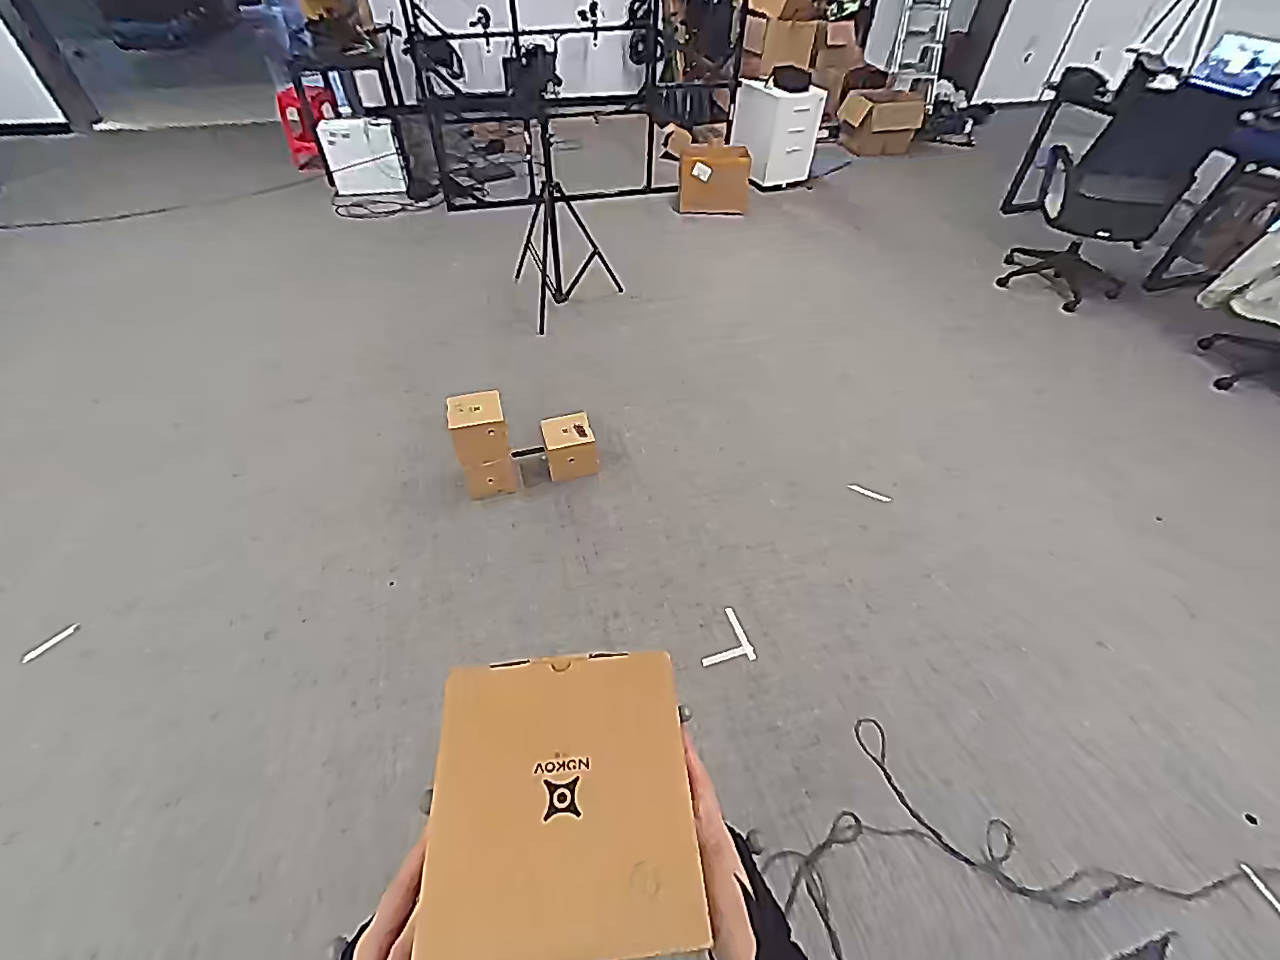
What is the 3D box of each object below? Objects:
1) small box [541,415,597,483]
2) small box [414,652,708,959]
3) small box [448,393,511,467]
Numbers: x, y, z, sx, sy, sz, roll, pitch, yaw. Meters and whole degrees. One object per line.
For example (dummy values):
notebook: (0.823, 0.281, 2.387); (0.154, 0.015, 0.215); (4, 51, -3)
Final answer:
small box: (-0.261, -0.114, 2.016); (0.179, 0.176, 0.168); (-13, 49, -11)
small box: (-0.051, 0.252, 0.406); (0.168, 0.176, 0.179); (-4, 49, -6)
small box: (-0.540, -0.168, 1.834); (0.179, 0.176, 0.168); (-11, 48, -12)
